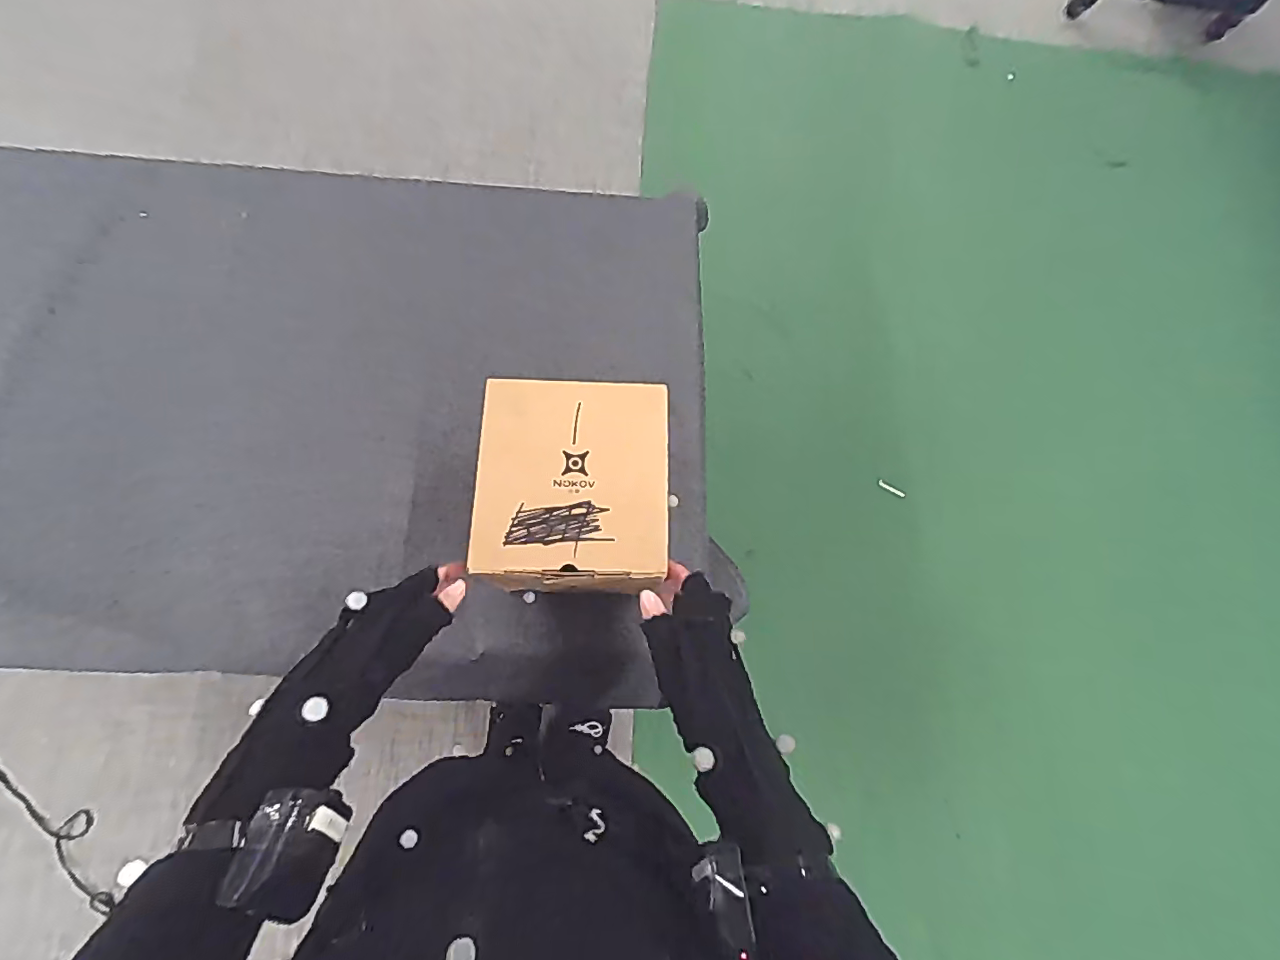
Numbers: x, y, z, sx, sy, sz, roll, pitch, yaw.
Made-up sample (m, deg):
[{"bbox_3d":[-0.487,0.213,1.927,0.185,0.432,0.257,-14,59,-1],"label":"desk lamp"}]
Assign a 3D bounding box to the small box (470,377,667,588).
[{"bbox_3d":[-0.060,0.014,0.549,0.168,0.176,0.179,2,73,-2],"label":"small box"}]
